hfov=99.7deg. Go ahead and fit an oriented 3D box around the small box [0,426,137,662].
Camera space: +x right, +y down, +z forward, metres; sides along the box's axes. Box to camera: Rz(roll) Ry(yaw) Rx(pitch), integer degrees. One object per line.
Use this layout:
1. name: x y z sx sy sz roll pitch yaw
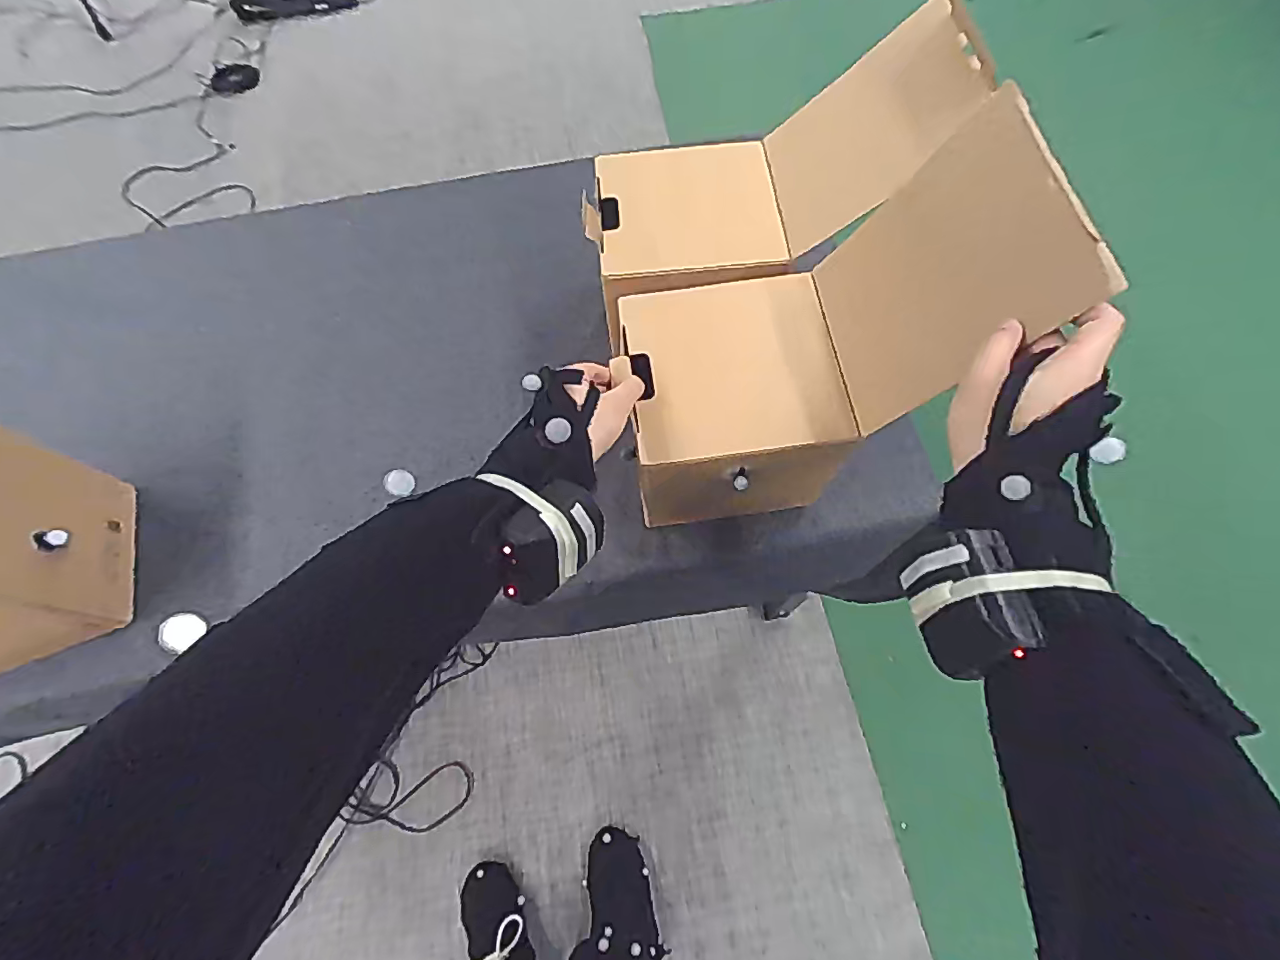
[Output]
1. small box: -0.617 0.064 0.495 0.179 0.176 0.168 -21 66 -6
